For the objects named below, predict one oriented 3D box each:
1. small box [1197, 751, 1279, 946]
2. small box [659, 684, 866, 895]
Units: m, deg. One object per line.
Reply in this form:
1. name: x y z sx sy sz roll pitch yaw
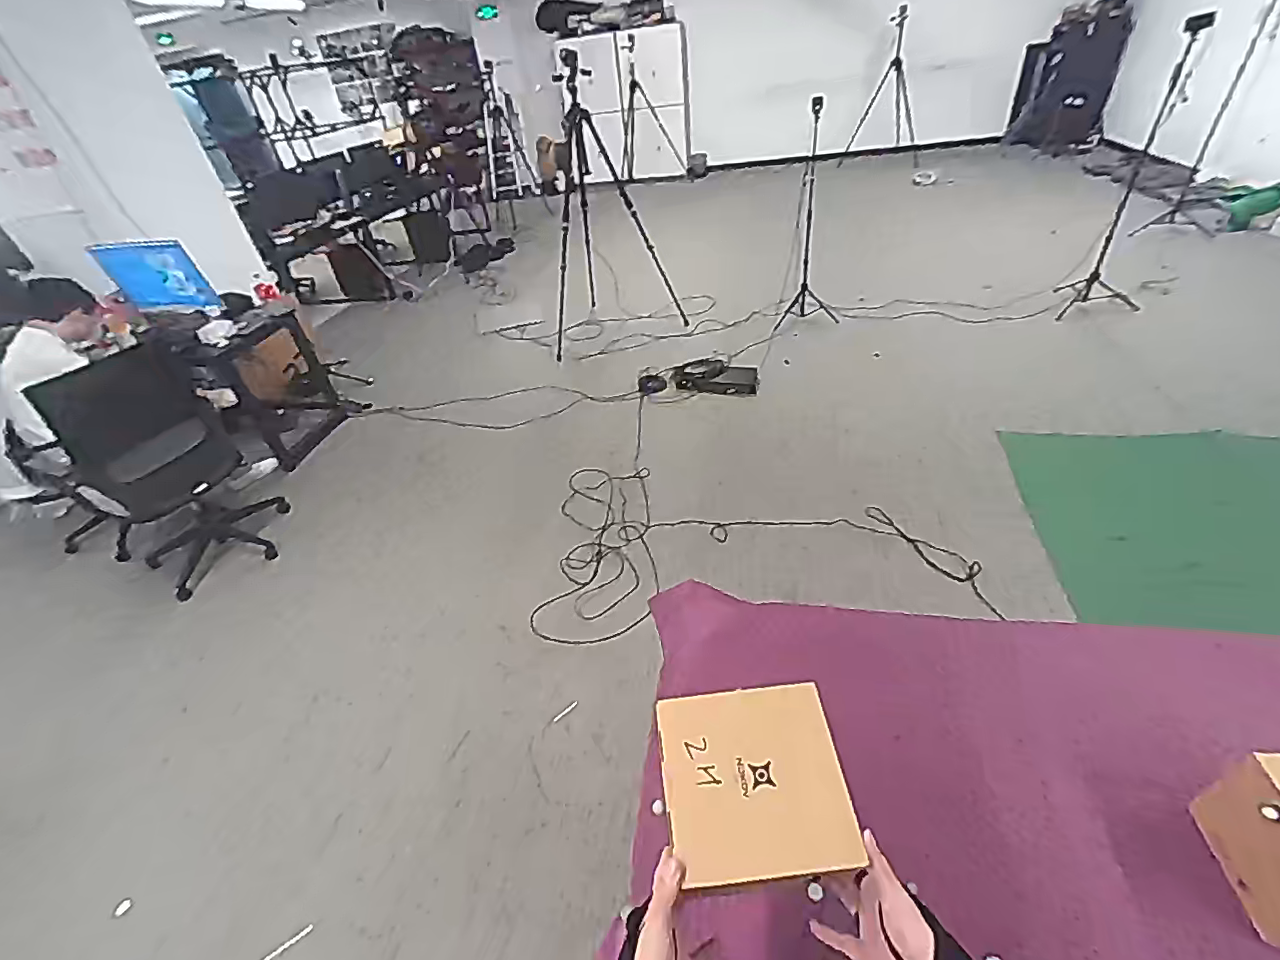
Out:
1. small box: 0.851 0.454 0.648 0.179 0.176 0.168 1 39 12
2. small box: 0.116 0.342 0.594 0.179 0.176 0.168 -7 49 0
